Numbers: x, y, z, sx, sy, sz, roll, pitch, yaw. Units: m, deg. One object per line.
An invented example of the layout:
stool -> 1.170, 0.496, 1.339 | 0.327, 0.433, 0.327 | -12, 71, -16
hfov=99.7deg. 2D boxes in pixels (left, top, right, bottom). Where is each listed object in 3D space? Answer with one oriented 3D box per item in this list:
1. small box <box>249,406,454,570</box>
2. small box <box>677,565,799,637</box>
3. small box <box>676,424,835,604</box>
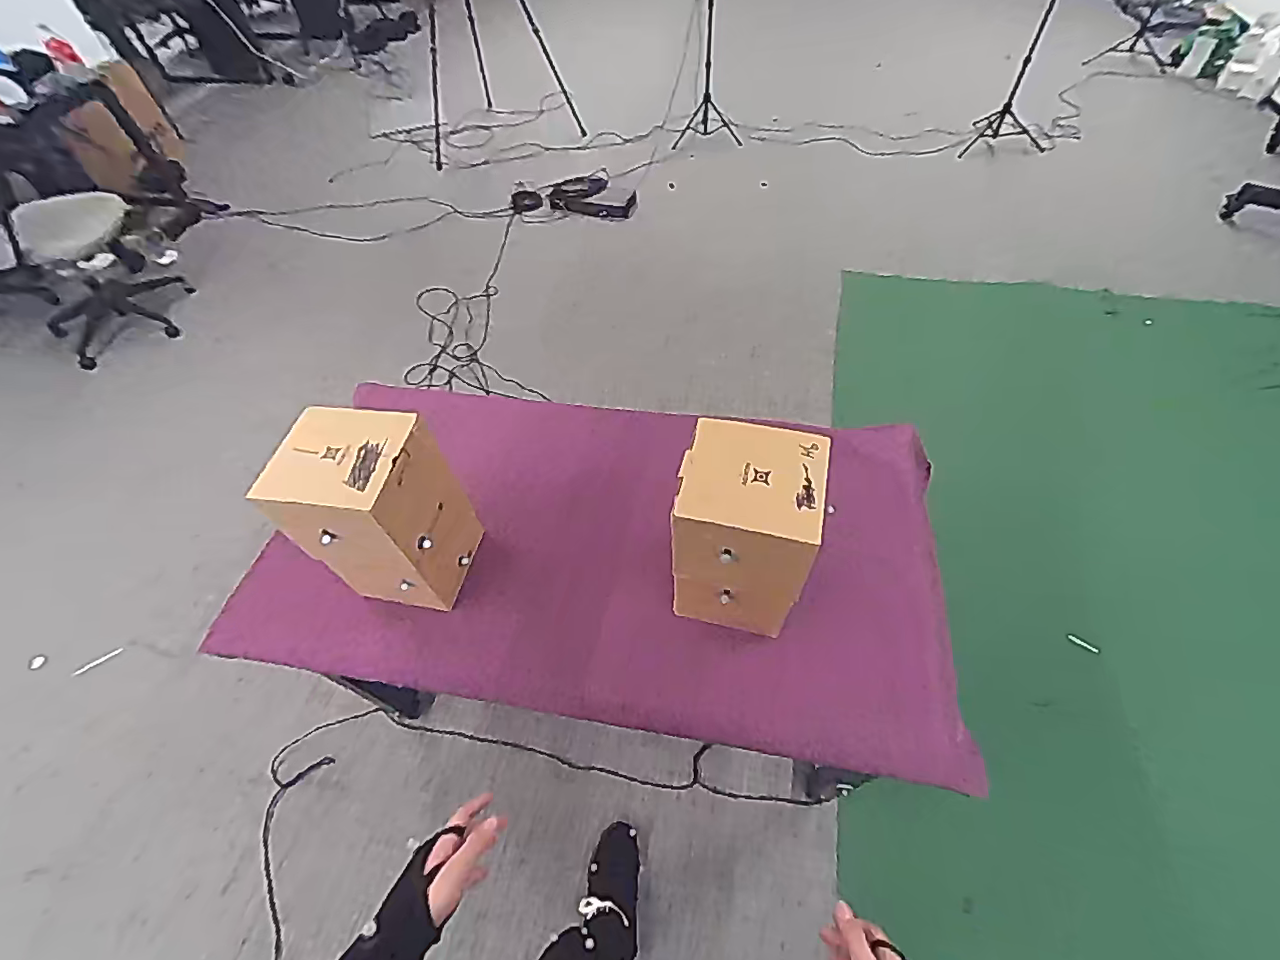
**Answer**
small box -> -0.393, 0.016, 0.781 | 0.179, 0.176, 0.168 | 6, 54, 7
small box -> 0.162, 0.138, 0.874 | 0.179, 0.176, 0.168 | 11, 55, 12
small box -> 0.152, 0.050, 0.735 | 0.179, 0.176, 0.168 | 11, 56, 12
